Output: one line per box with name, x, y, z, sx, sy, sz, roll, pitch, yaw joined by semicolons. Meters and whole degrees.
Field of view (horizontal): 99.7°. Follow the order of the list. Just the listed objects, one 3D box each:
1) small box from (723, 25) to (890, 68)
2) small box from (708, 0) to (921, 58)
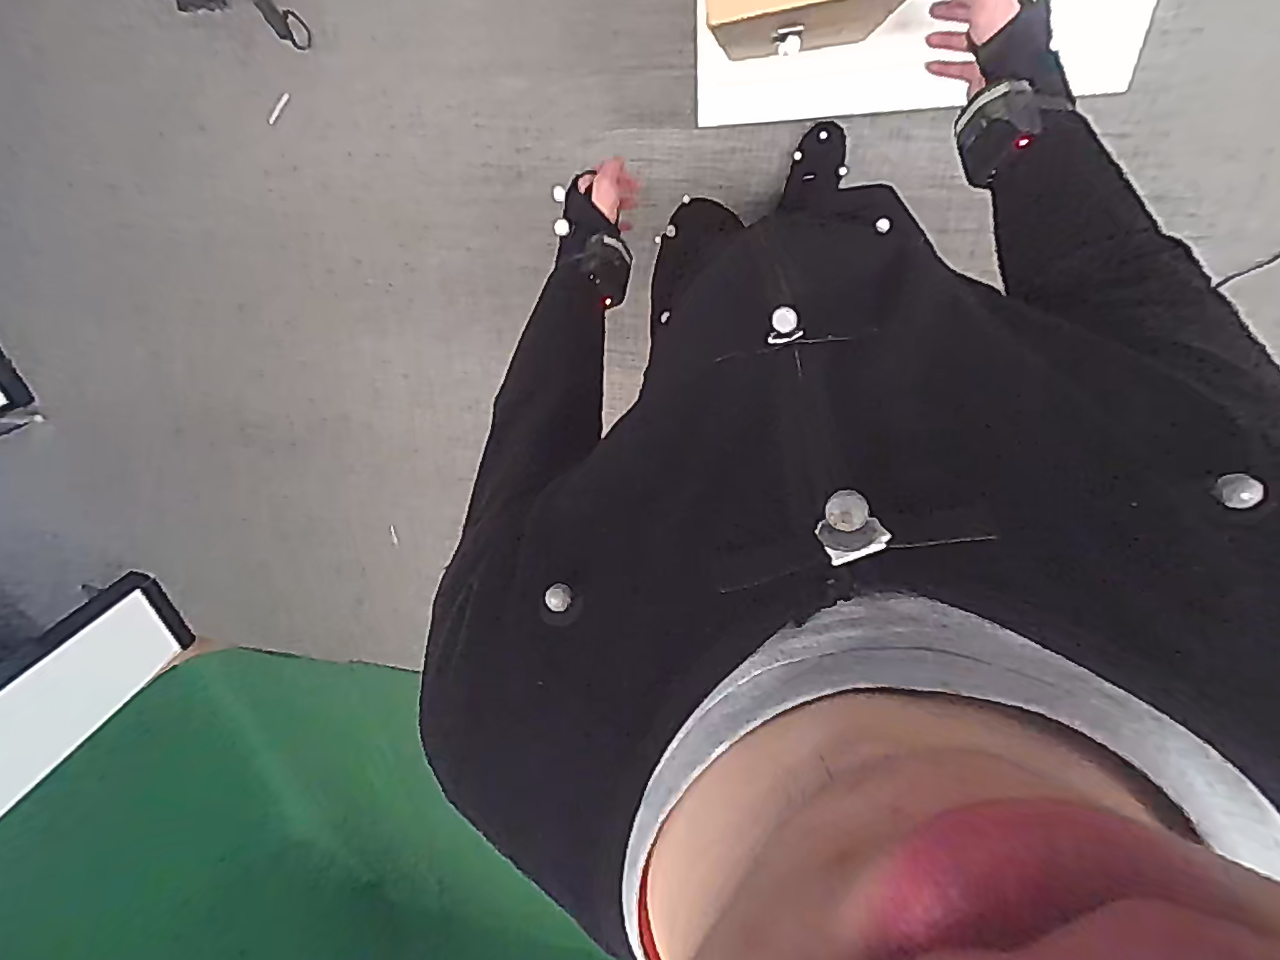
small box;0.174;-0.560;0.570;0.168;0.176;0.179;2;123;13
small box;0.141;-0.472;0.436;0.168;0.176;0.179;0;123;15
